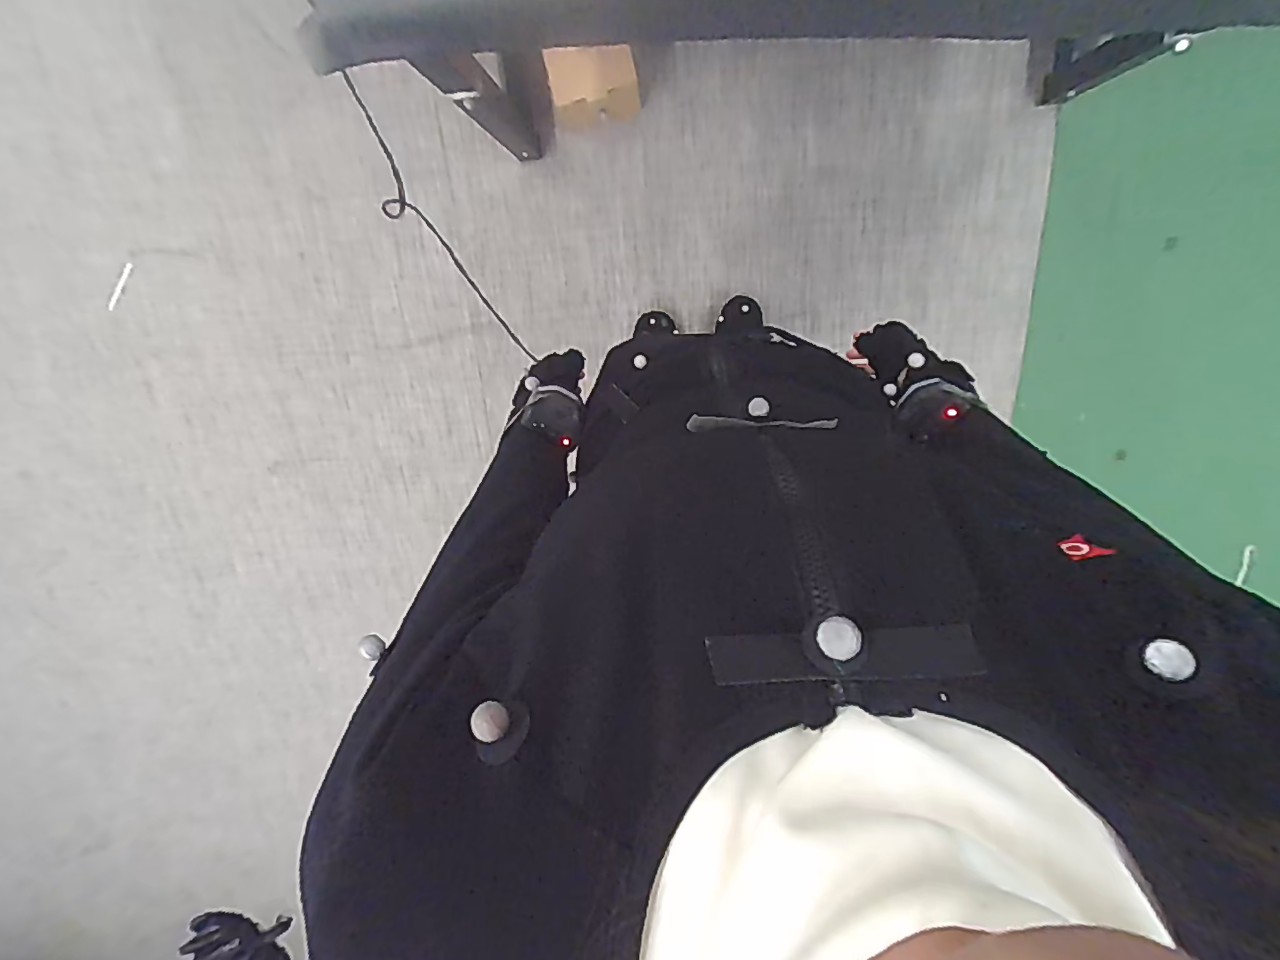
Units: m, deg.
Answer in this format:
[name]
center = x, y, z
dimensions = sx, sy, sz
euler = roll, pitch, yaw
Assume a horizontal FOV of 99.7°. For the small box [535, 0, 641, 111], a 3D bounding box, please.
[small box]
center = -0.096, -0.871, 1.086
dimensions = 0.168, 0.176, 0.179
euler = -12, 110, 7
